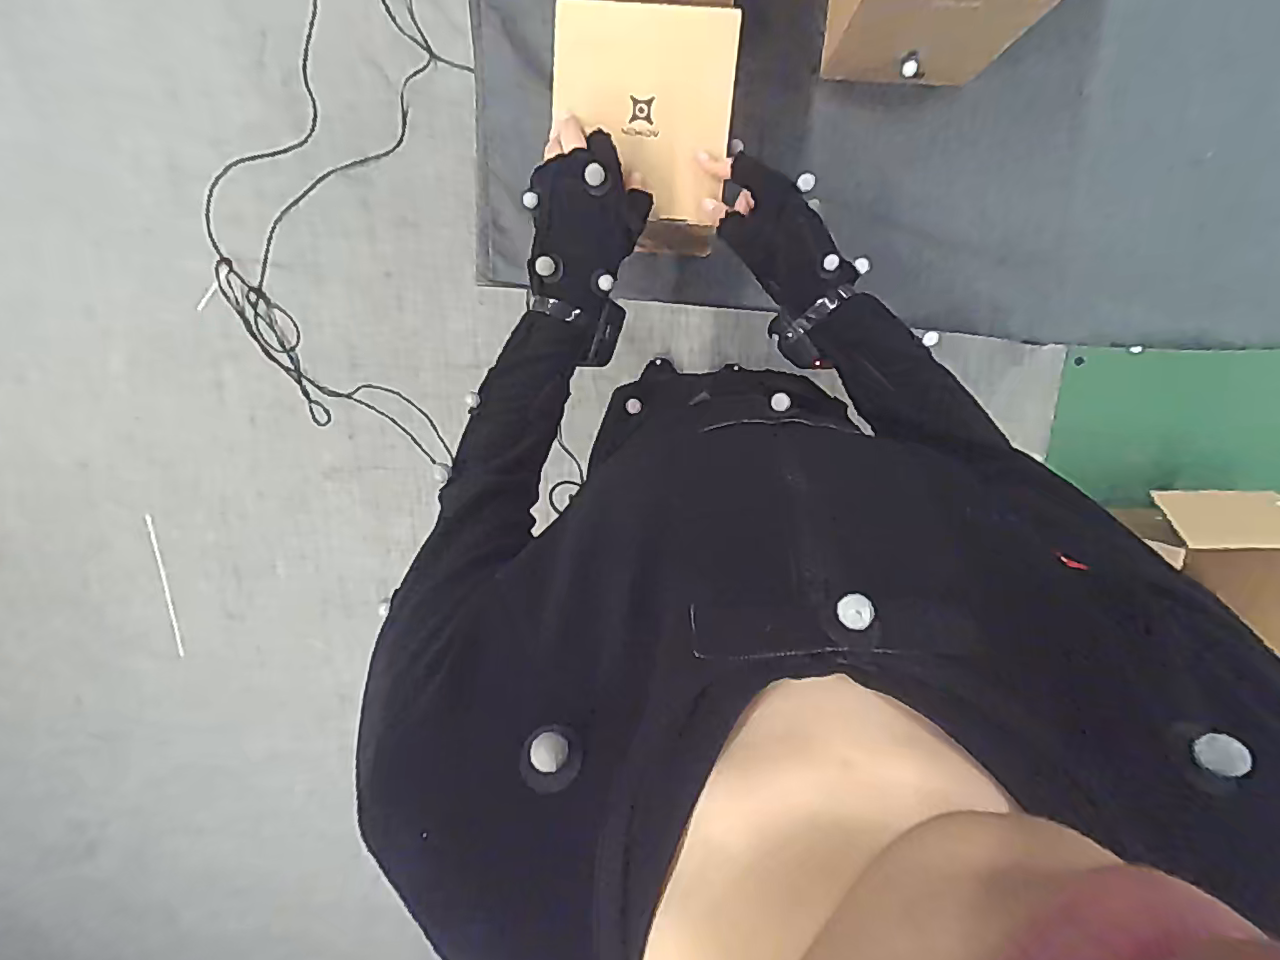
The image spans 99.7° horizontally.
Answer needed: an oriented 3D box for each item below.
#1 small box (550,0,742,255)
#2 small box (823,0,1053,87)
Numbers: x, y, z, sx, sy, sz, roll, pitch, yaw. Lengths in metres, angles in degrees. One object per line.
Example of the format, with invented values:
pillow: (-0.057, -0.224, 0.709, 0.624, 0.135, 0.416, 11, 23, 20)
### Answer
small box: (0.005, -0.351, 0.572, 0.168, 0.176, 0.179, 5, 104, 1)
small box: (0.288, -0.520, 0.518, 0.168, 0.176, 0.179, 5, 104, 2)
